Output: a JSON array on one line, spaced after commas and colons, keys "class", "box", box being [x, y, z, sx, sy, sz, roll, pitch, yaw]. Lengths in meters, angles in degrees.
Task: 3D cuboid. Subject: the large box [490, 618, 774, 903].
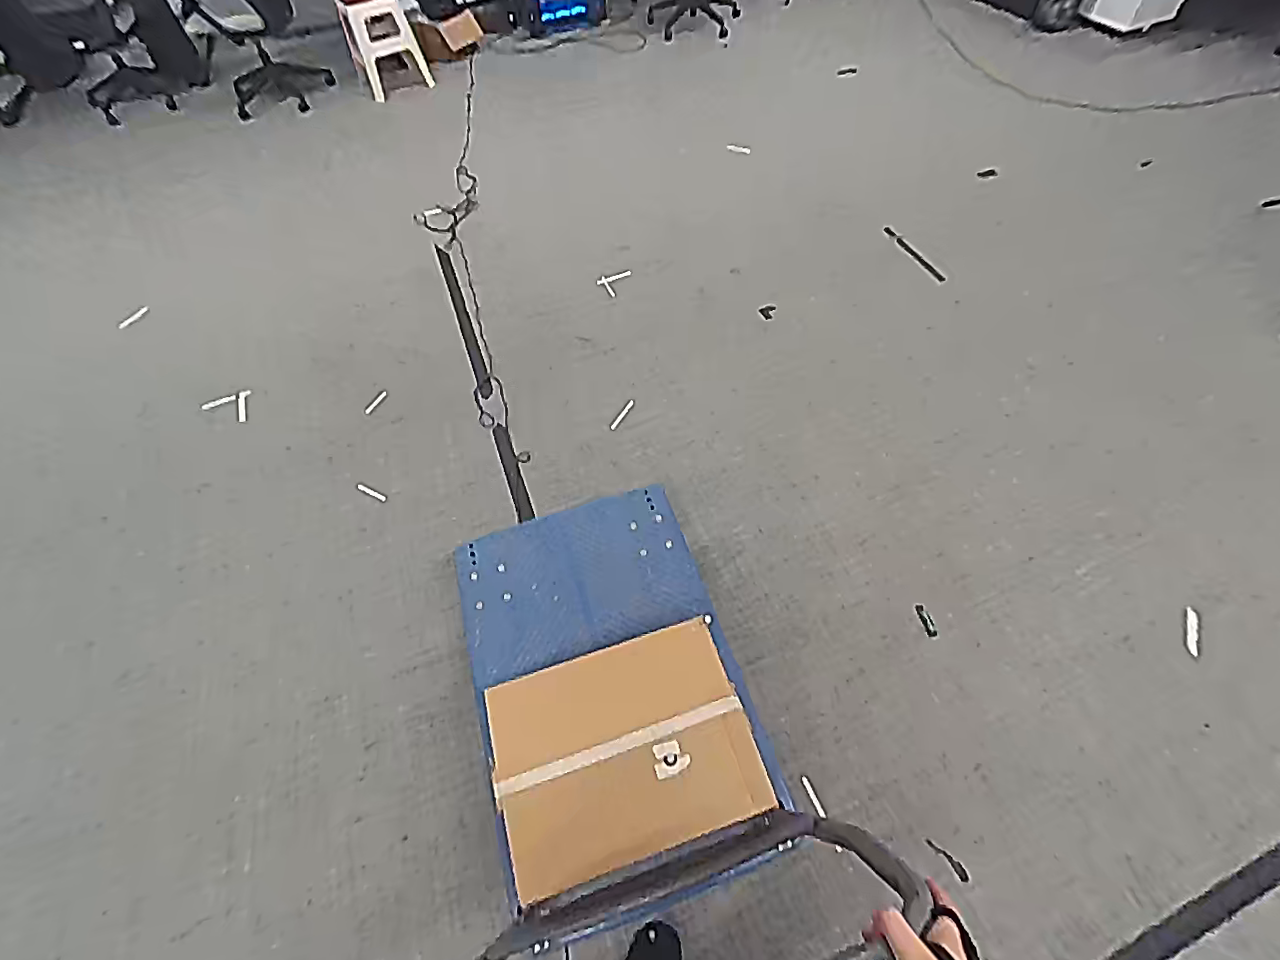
[{"class": "large box", "box": [-0.021, 0.511, 1.005, 0.408, 0.320, 0.320, -17, 59, -8]}]
